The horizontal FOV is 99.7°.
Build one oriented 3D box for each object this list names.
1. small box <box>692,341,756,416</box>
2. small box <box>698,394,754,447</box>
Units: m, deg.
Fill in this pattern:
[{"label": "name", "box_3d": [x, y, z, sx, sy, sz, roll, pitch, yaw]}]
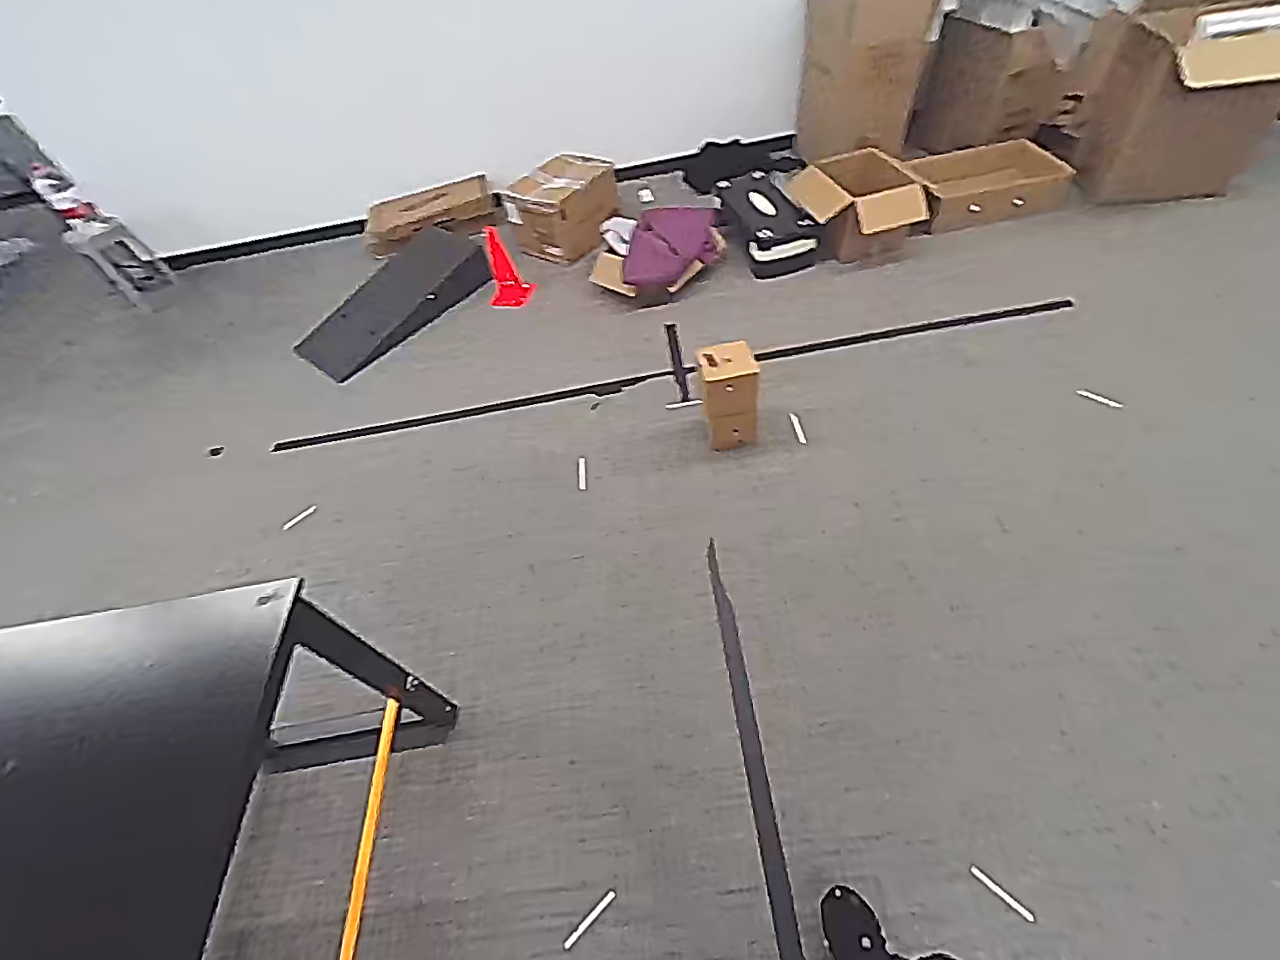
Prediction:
[{"label": "small box", "box_3d": [0.280, -0.334, 1.806, 0.179, 0.176, 0.168, -11, 51, 0]}, {"label": "small box", "box_3d": [0.309, -0.236, 1.937, 0.168, 0.176, 0.179, -11, 52, 1]}]
